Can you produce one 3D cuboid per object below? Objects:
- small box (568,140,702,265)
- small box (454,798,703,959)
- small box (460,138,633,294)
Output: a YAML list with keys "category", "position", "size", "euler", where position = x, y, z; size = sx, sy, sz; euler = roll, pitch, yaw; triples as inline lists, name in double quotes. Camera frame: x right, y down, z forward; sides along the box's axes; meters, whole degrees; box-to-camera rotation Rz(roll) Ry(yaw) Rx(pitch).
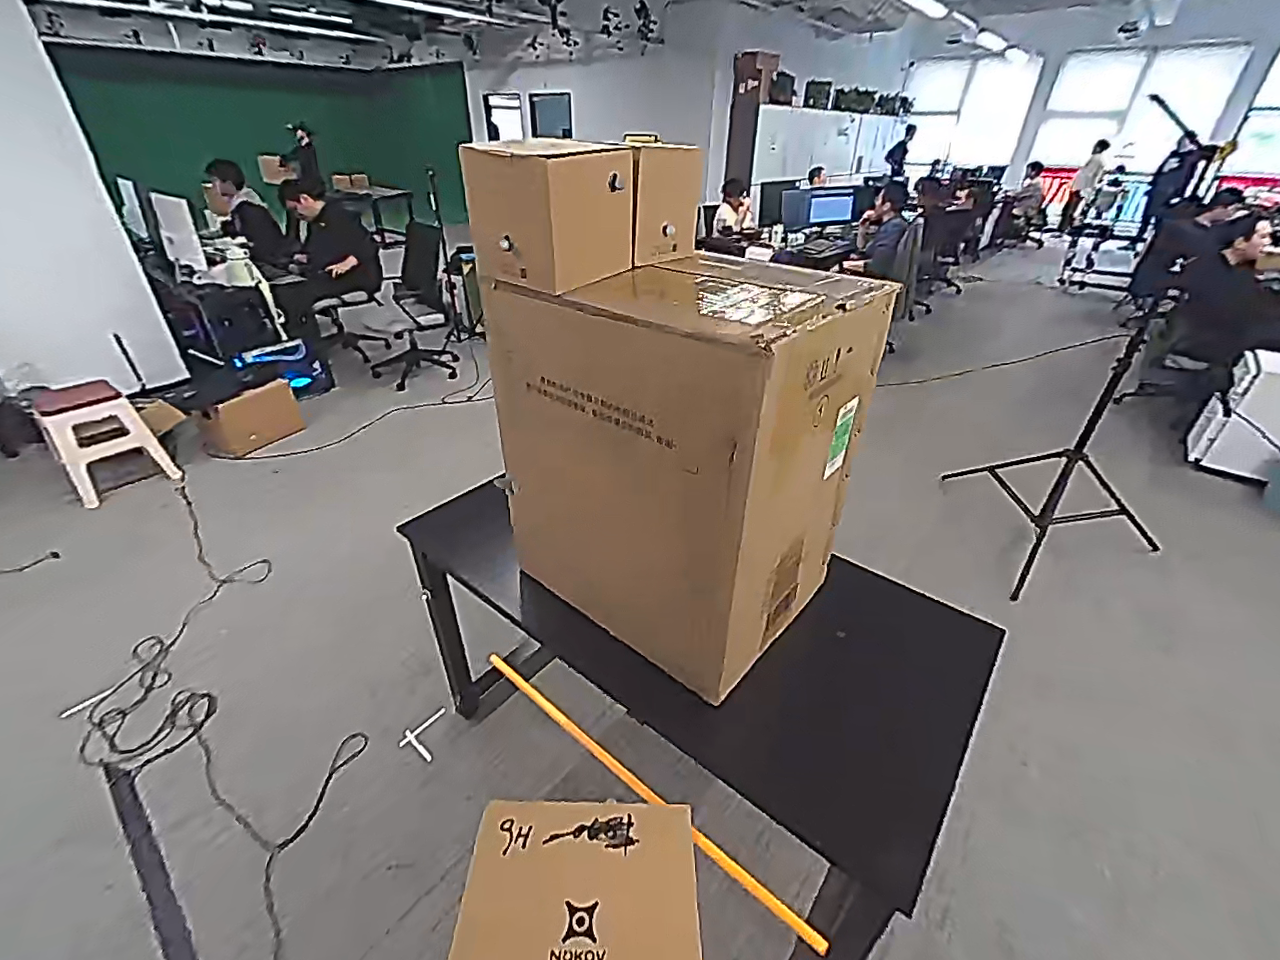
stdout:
- category: "small box"
  position: [-0.021, -0.464, 0.905]
  size: [0.179, 0.176, 0.168]
  euler: [26, 39, 31]
- category: "small box"
  position: [-0.042, 0.371, 0.406]
  size: [0.168, 0.176, 0.179]
  euler: [2, 33, -2]
- category: "small box"
  position: [-0.128, -0.385, 0.781]
  size: [0.168, 0.176, 0.179]
  euler: [24, 43, 28]
